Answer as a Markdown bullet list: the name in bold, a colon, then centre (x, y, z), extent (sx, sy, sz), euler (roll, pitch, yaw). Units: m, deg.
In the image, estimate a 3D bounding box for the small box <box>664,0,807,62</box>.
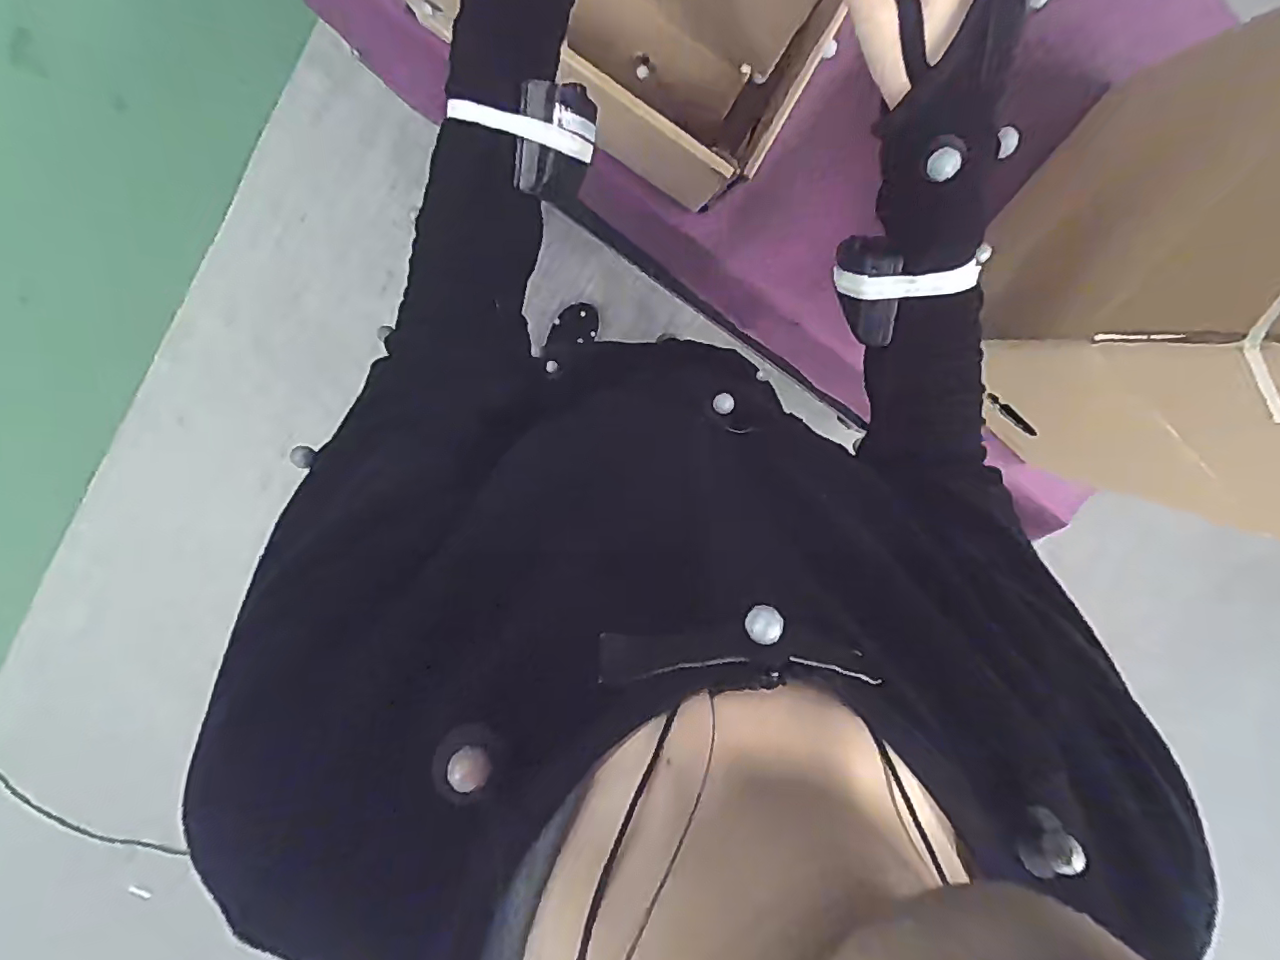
- **small box**: centre (0.064, -0.403, 0.319), extent (0.179, 0.176, 0.168), euler (31, 105, -10)
